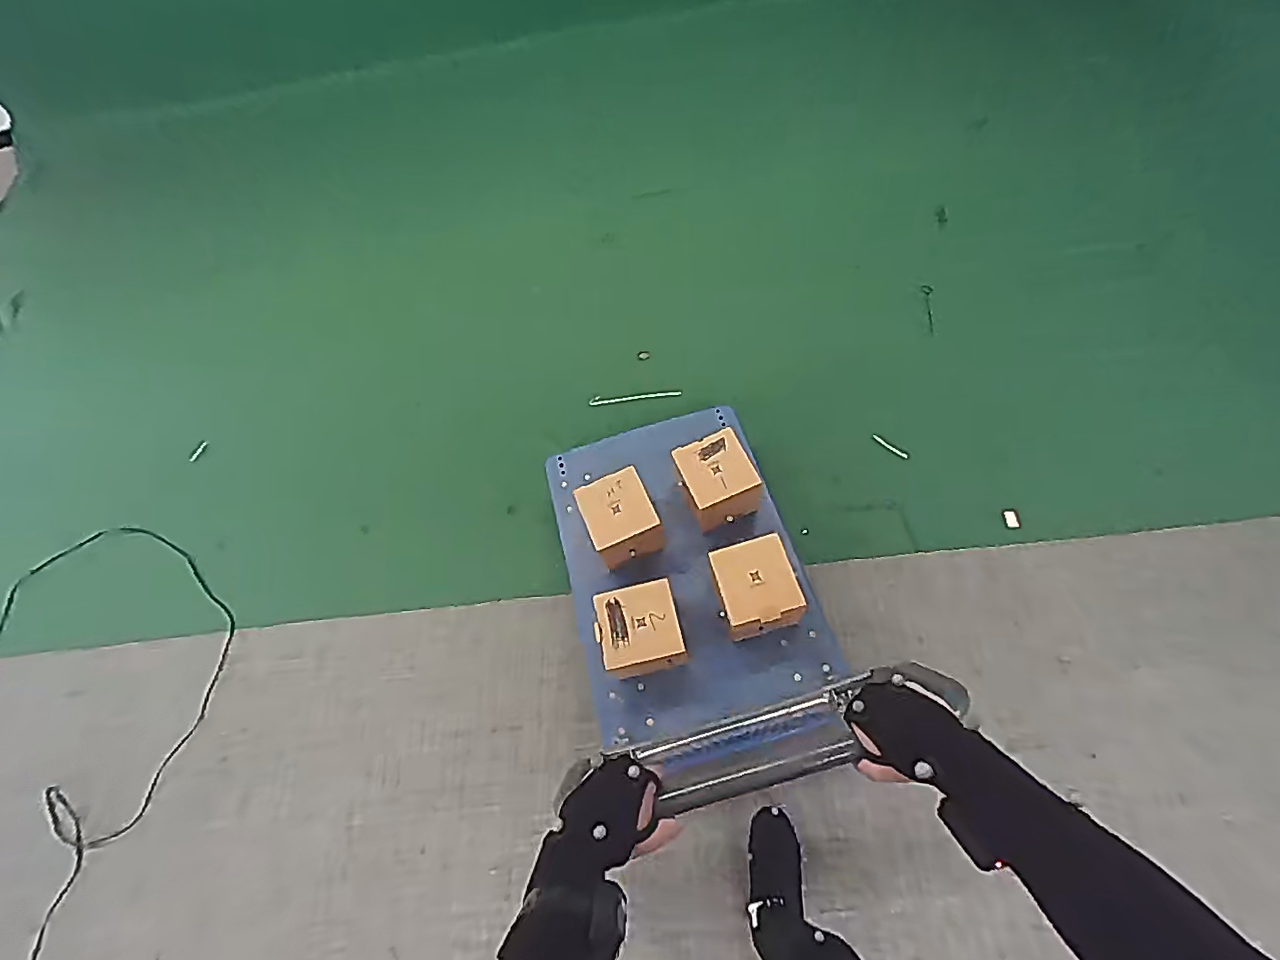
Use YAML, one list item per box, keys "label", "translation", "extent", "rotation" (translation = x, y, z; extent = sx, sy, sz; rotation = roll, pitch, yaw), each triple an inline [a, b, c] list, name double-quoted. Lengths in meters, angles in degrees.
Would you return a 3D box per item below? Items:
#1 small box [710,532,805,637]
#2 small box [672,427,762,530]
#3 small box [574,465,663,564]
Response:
- label: "small box"
  translation: [0.262, 0.247, 1.254]
  extent: [0.168, 0.176, 0.179]
  rotation: [-16, 63, 0]
- label: "small box"
  translation: [0.193, 0.001, 1.383]
  extent: [0.168, 0.176, 0.179]
  rotation: [-23, 64, -3]
- label: "small box"
  translation: [-0.049, 0.096, 1.369]
  extent: [0.168, 0.176, 0.179]
  rotation: [-23, 63, -5]
